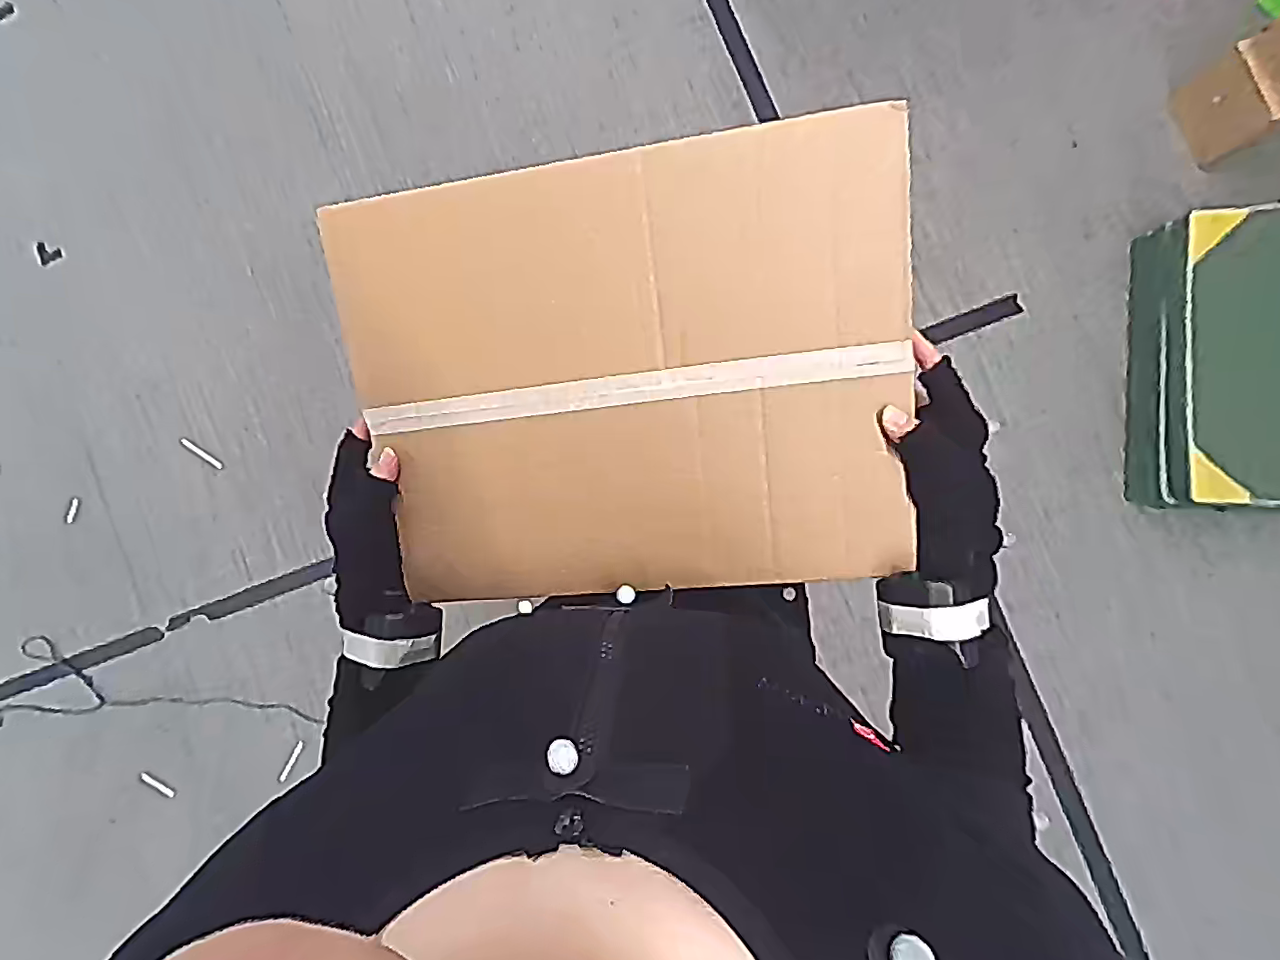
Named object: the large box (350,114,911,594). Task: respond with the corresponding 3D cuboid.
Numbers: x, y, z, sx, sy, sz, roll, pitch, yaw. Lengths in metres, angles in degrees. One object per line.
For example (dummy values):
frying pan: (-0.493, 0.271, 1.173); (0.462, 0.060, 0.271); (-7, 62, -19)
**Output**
large box: (0.010, -0.101, 0.553); (0.408, 0.320, 0.320); (-5, 104, 9)
